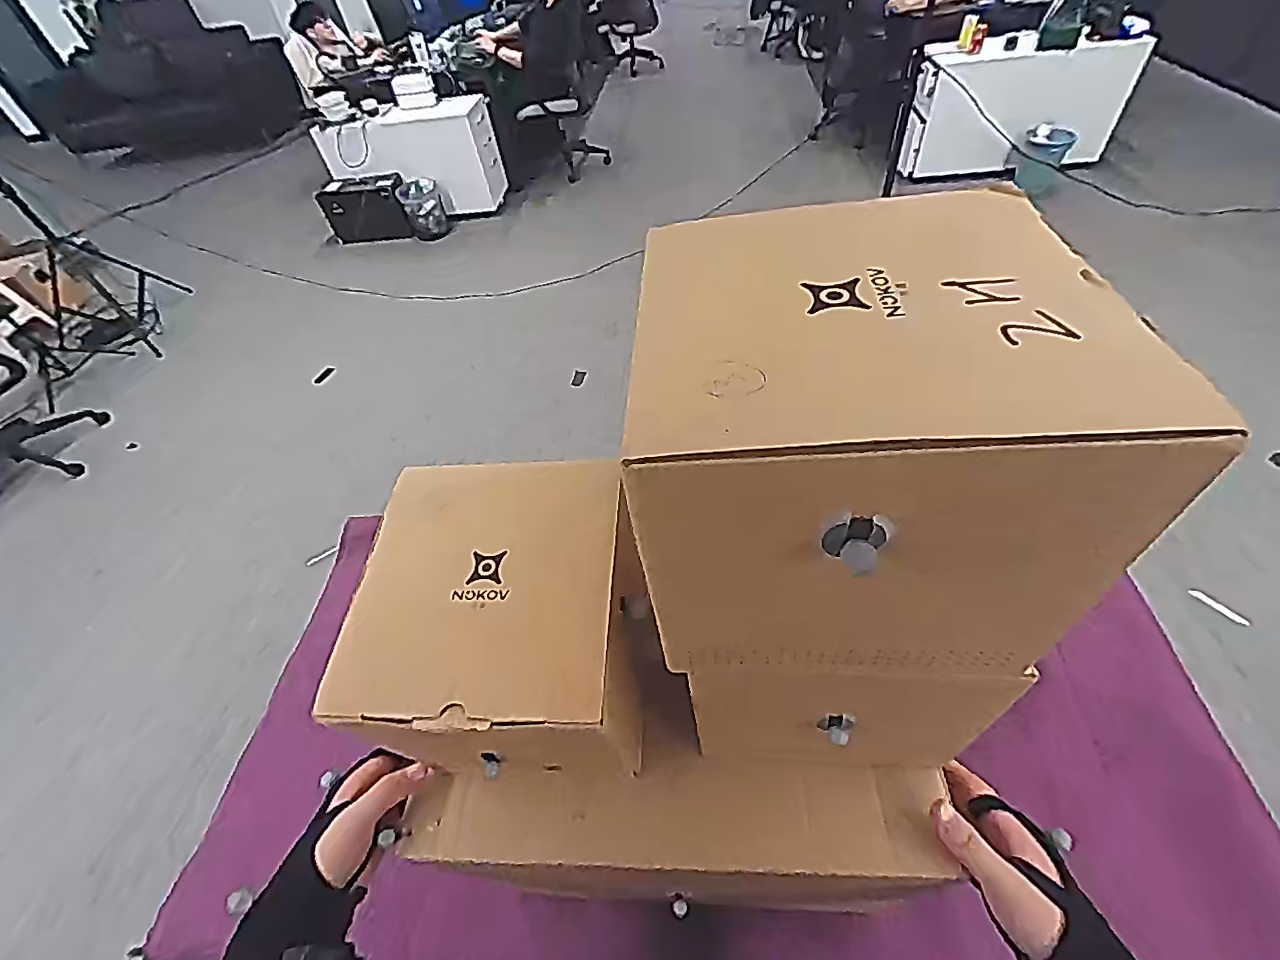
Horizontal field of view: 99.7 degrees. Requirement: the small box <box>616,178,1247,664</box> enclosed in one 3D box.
[{"bbox_3d":[0.095,-0.021,0.266,0.179,0.176,0.168,-2,49,8],"label":"small box"}]
